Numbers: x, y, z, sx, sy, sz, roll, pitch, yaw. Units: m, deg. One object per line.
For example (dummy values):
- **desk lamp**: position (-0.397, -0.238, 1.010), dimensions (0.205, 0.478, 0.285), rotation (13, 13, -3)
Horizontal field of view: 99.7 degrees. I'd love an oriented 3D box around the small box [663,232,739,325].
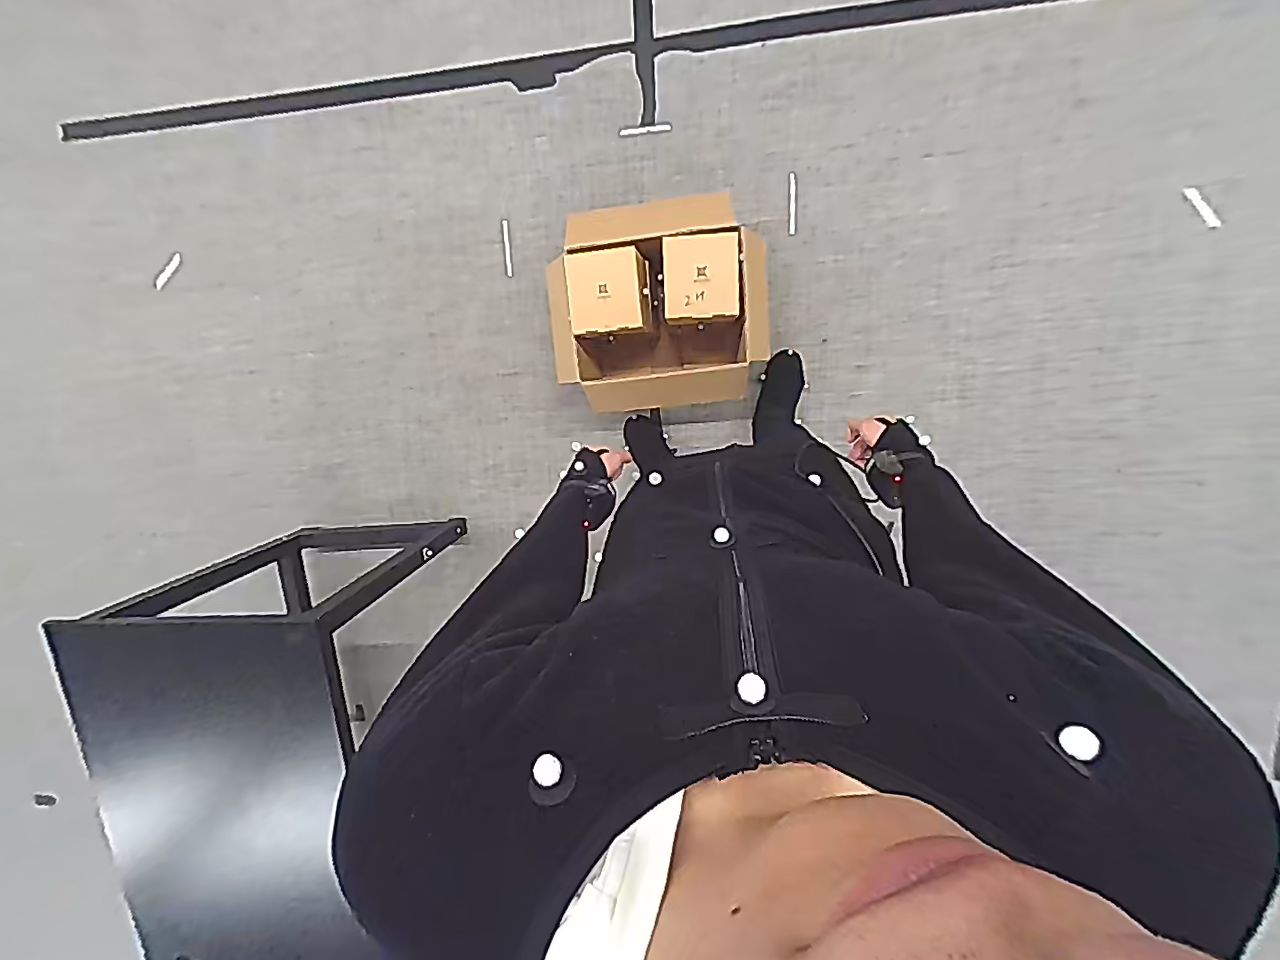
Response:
- **small box**: position (0.140, -0.459, 1.256), dimensions (0.168, 0.176, 0.179), rotation (-1, 102, 6)
